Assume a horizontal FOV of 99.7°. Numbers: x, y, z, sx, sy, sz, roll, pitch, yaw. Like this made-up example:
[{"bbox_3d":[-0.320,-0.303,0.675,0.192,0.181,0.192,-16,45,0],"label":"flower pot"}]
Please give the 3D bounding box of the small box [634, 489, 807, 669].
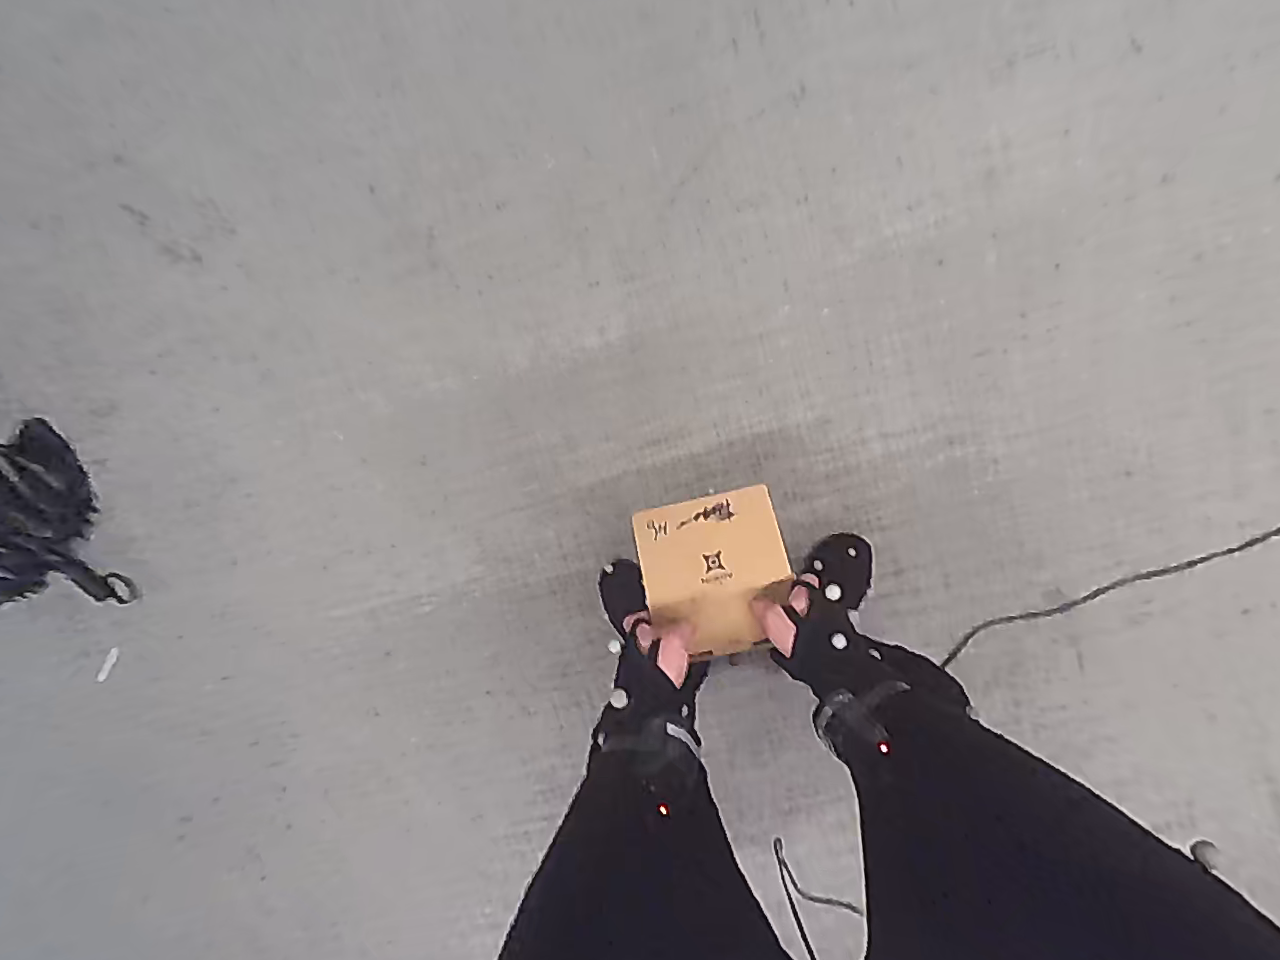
[{"bbox_3d":[0.099,0.133,0.684,0.168,0.176,0.179,-14,68,4],"label":"small box"}]
